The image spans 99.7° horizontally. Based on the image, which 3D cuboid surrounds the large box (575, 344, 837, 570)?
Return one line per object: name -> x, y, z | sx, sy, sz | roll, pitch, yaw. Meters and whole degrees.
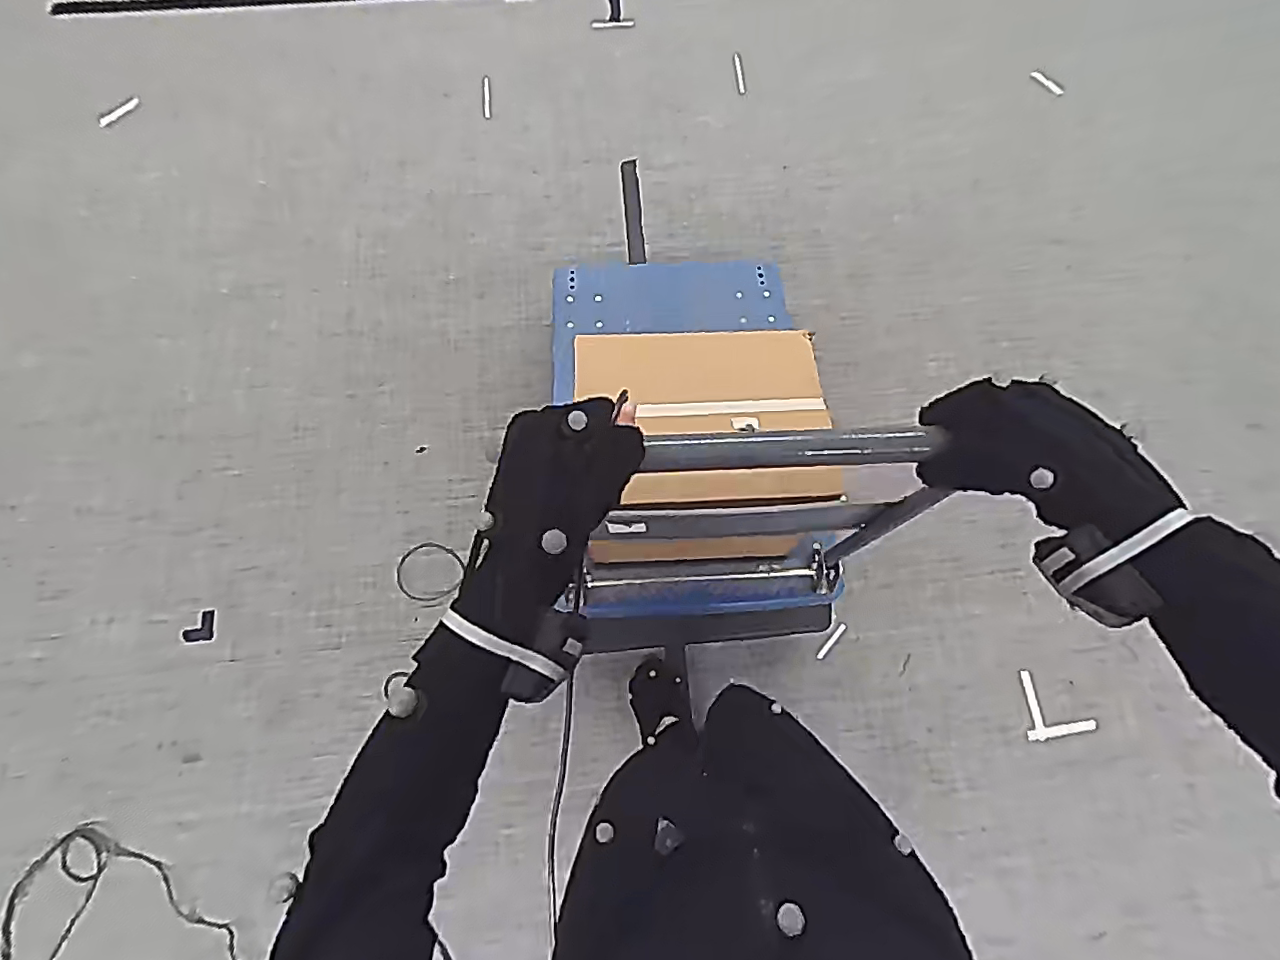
large box -> 0.091, -0.031, 1.018 | 0.408, 0.320, 0.320 | -2, 65, -4
